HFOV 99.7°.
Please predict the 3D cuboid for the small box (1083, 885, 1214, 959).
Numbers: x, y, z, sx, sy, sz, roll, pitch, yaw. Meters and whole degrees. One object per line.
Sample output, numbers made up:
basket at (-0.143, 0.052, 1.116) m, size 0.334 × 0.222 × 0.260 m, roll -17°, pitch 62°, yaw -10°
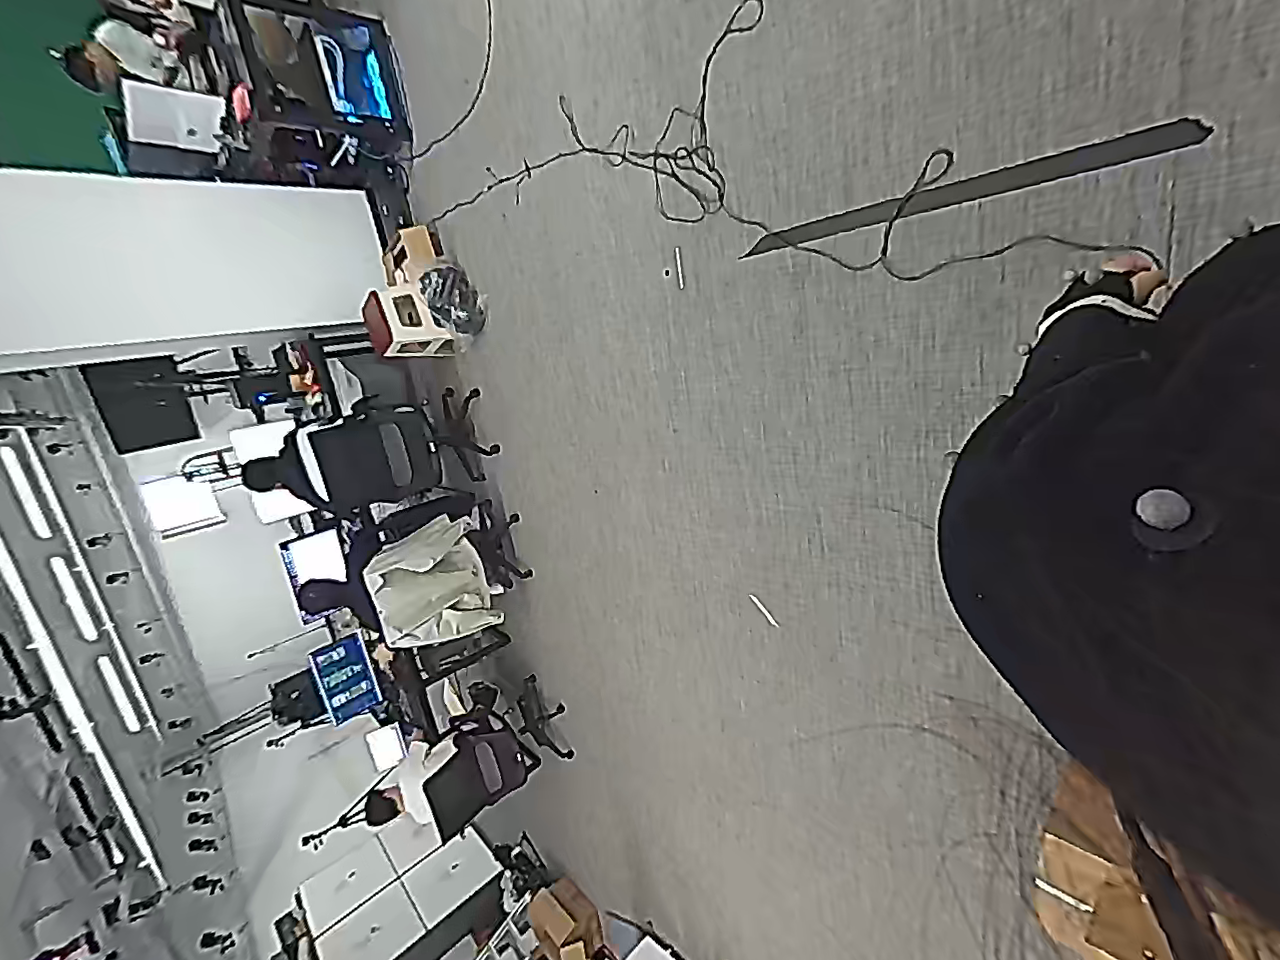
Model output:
small box at (1.012, 0.972, 1.078) m, size 0.179 × 0.176 × 0.168 m, roll 6°, pitch 109°, yaw 49°
